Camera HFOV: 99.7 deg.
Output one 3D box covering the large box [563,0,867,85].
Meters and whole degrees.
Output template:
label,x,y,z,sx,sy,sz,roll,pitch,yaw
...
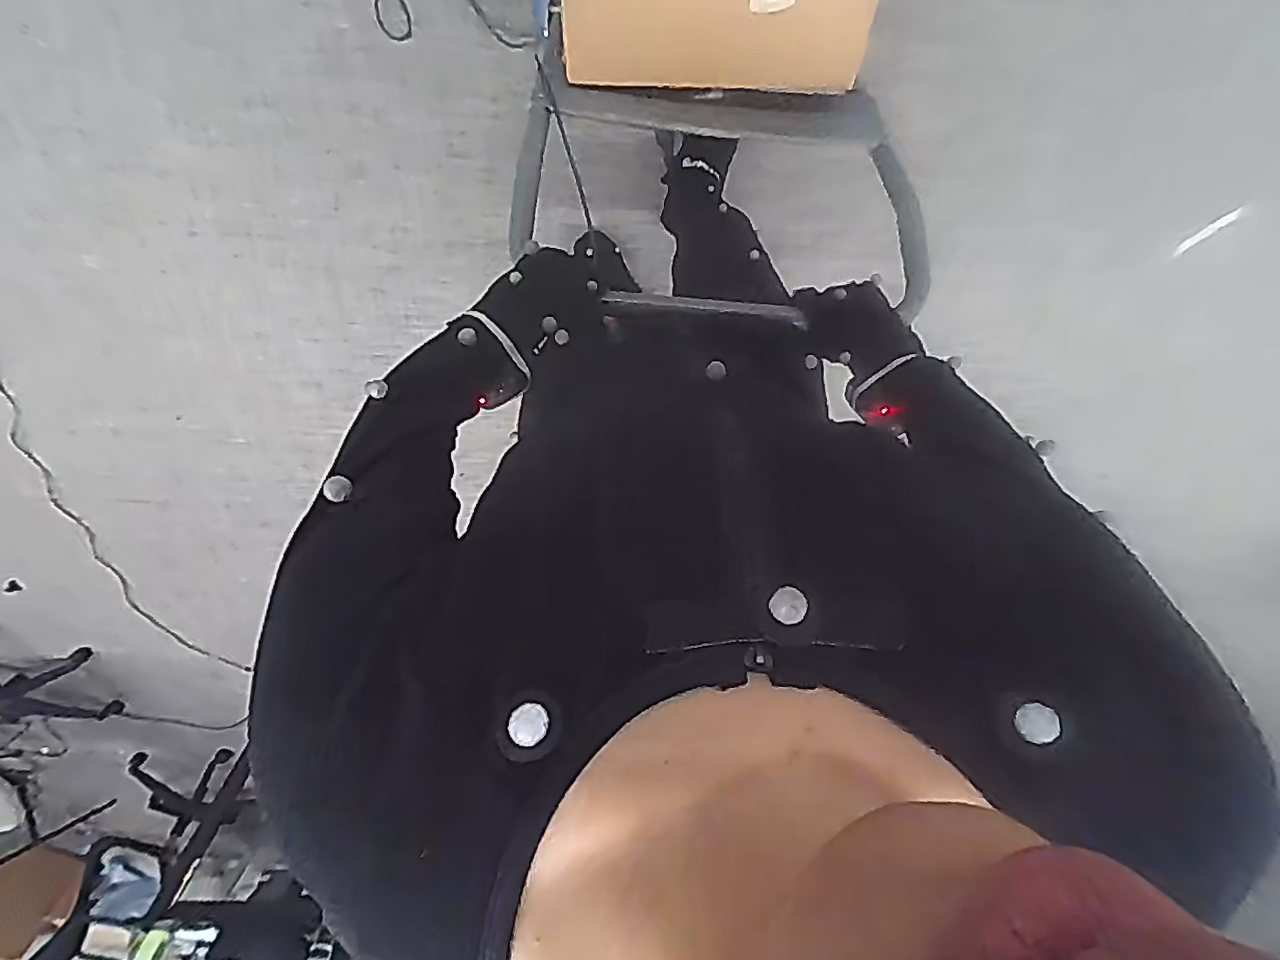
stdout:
label,x,y,z,sx,sy,sz,roll,pitch,yaw
large box,0.094,-0.780,0.739,0.408,0.320,0.320,-1,145,-1
